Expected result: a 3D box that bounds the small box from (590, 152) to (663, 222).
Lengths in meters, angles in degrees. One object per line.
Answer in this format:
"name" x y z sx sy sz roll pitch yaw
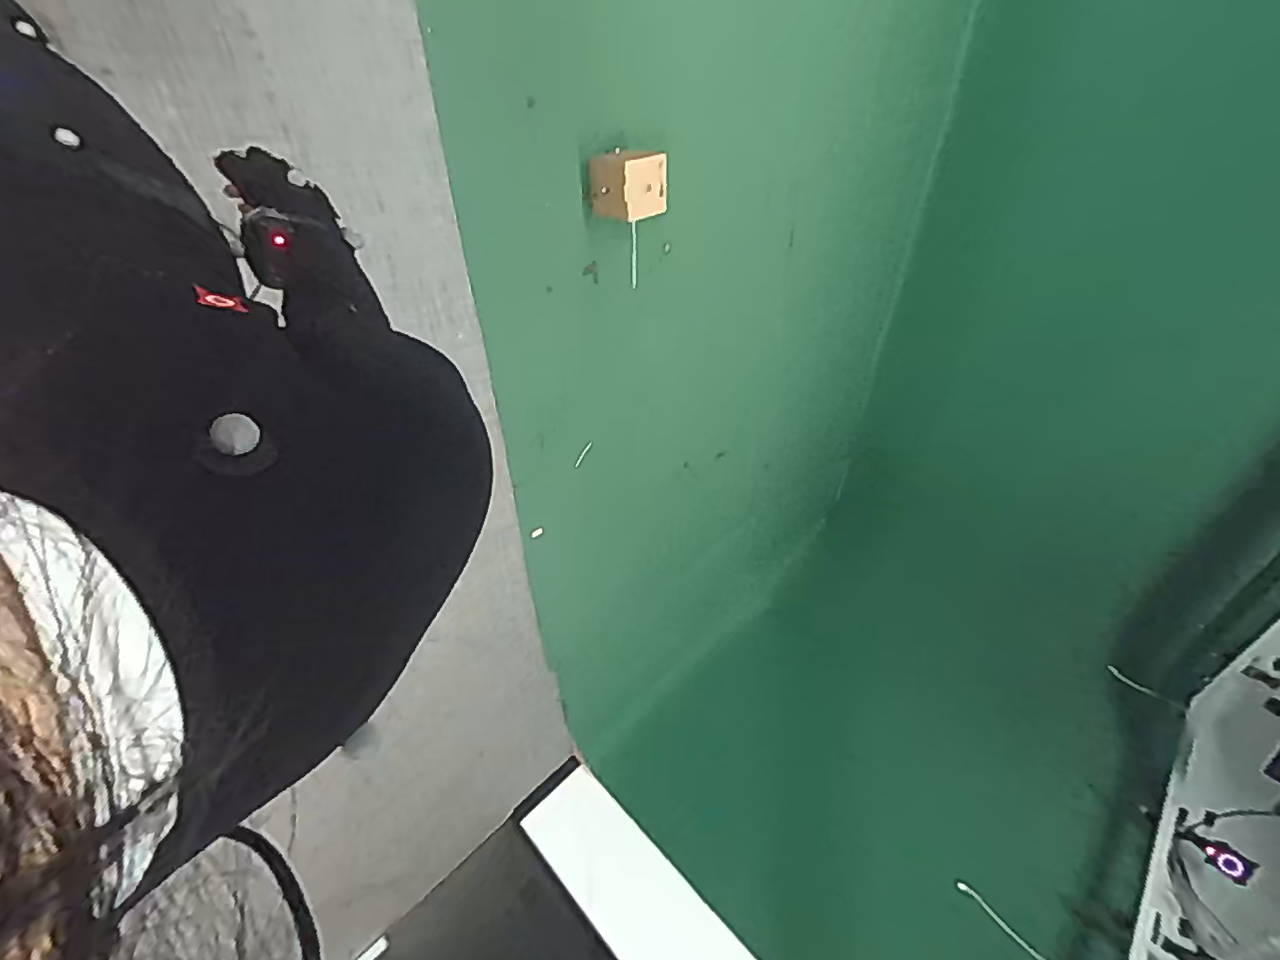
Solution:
"small box" -0.045 -0.926 1.701 0.179 0.176 0.168 -31 137 -32
